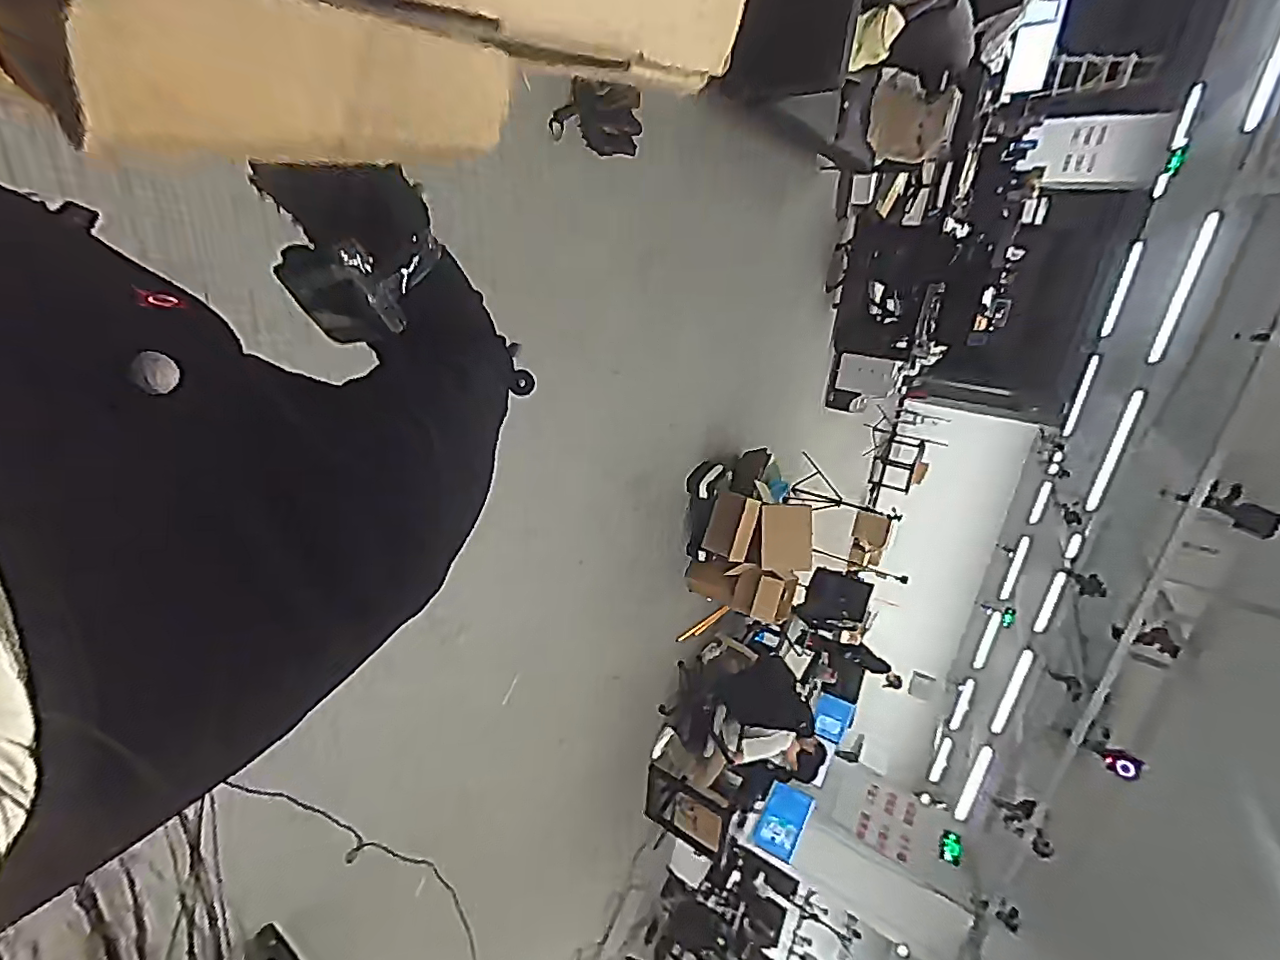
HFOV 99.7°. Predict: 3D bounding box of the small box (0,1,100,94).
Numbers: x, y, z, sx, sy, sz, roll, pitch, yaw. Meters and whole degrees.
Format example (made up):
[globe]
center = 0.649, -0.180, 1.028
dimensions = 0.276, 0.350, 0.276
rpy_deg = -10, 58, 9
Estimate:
[small box]
center = -0.235, -0.210, 0.093
dimensions = 0.168, 0.176, 0.179
rpy_deg = -16, 129, -58
